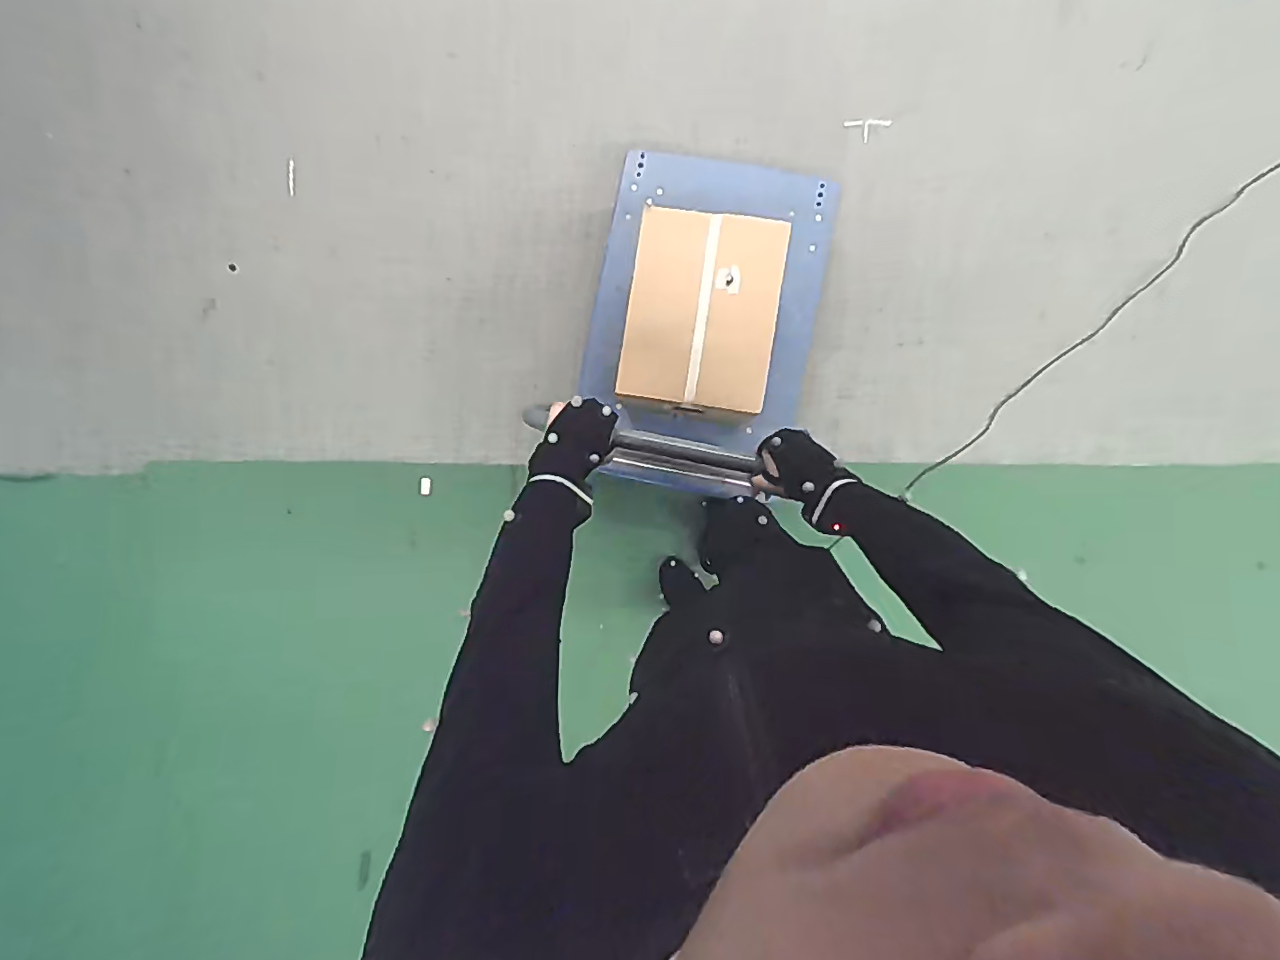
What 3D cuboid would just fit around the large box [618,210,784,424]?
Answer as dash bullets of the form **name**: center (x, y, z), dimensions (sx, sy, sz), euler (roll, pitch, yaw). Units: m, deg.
- **large box**: center (0.139, -0.361, 1.295), dimensions (0.320, 0.320, 0.408), euler (8, 90, 3)
